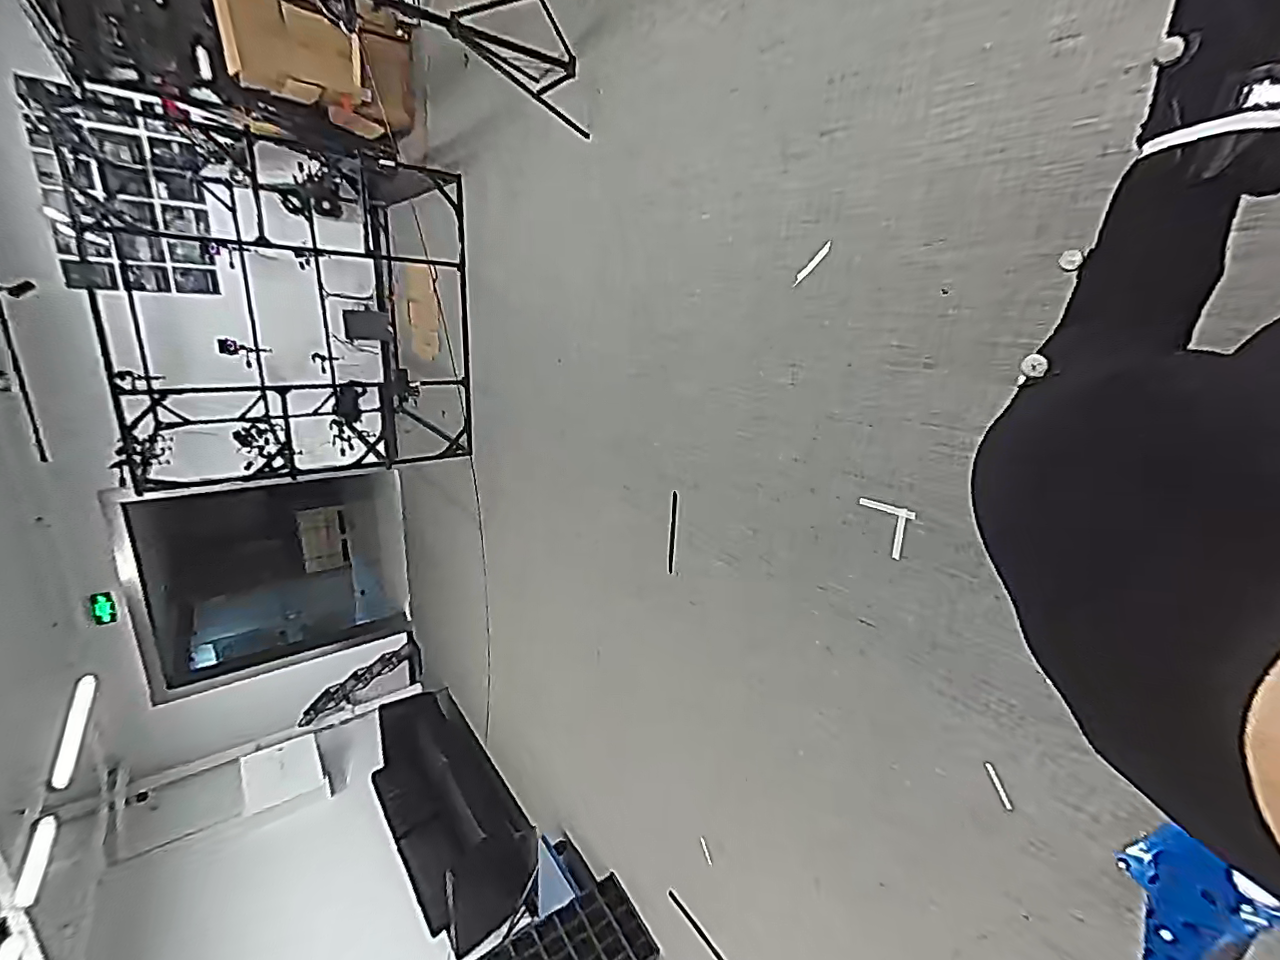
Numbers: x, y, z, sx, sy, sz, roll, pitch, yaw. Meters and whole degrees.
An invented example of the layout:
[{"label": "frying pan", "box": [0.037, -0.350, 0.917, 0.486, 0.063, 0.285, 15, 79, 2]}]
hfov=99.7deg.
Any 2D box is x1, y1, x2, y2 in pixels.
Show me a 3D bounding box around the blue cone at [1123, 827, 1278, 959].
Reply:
[{"label": "blue cone", "box": [1.071, 0.892, 1.077, 0.193, 0.380, 0.192, 49, 135, 37]}]
